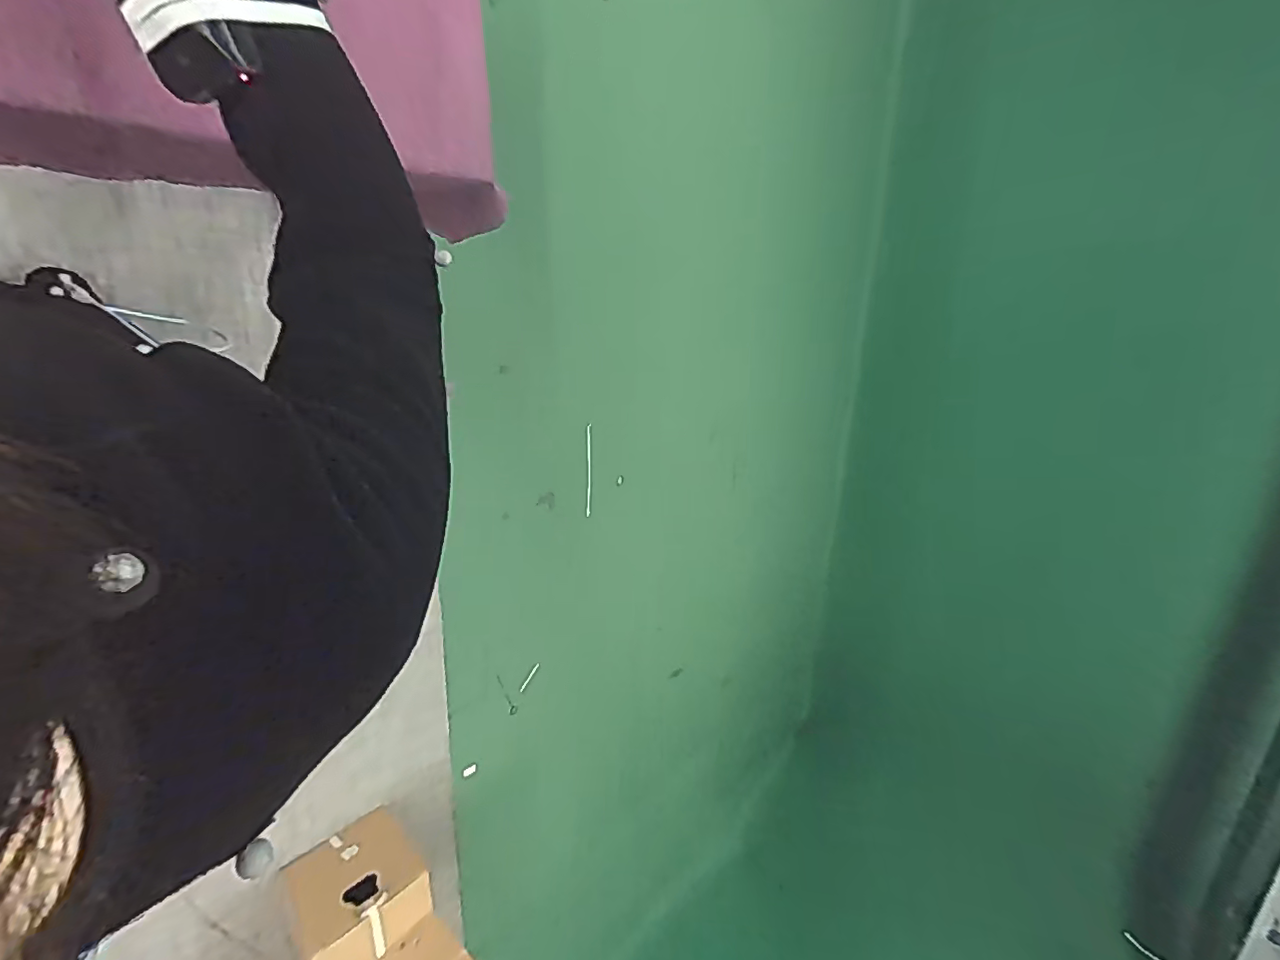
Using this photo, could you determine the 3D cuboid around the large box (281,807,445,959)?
[{"bbox_3d":[-0.824,1.310,1.624,0.320,0.320,0.408,-18,116,-45],"label":"large box"}]
